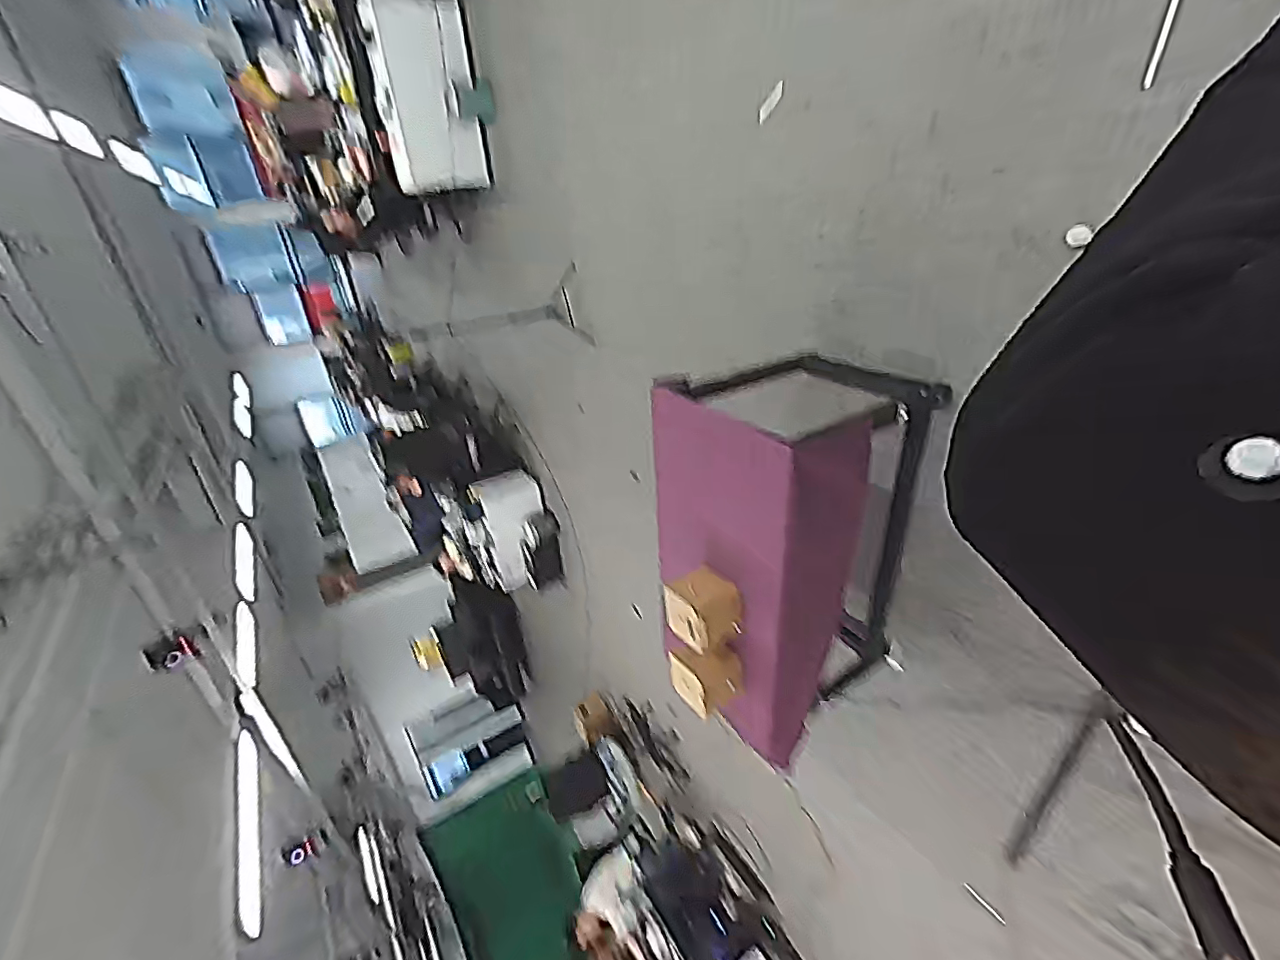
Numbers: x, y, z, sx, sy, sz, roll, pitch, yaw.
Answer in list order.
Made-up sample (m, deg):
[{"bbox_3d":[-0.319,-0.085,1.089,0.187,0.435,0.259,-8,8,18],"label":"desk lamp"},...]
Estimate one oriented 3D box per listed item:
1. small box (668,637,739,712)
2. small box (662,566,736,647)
[{"bbox_3d":[0.219,0.652,1.866,0.179,0.176,0.168,25,129,53],"label":"small box"},{"bbox_3d":[0.196,0.398,1.744,0.179,0.176,0.168,24,128,55],"label":"small box"}]
